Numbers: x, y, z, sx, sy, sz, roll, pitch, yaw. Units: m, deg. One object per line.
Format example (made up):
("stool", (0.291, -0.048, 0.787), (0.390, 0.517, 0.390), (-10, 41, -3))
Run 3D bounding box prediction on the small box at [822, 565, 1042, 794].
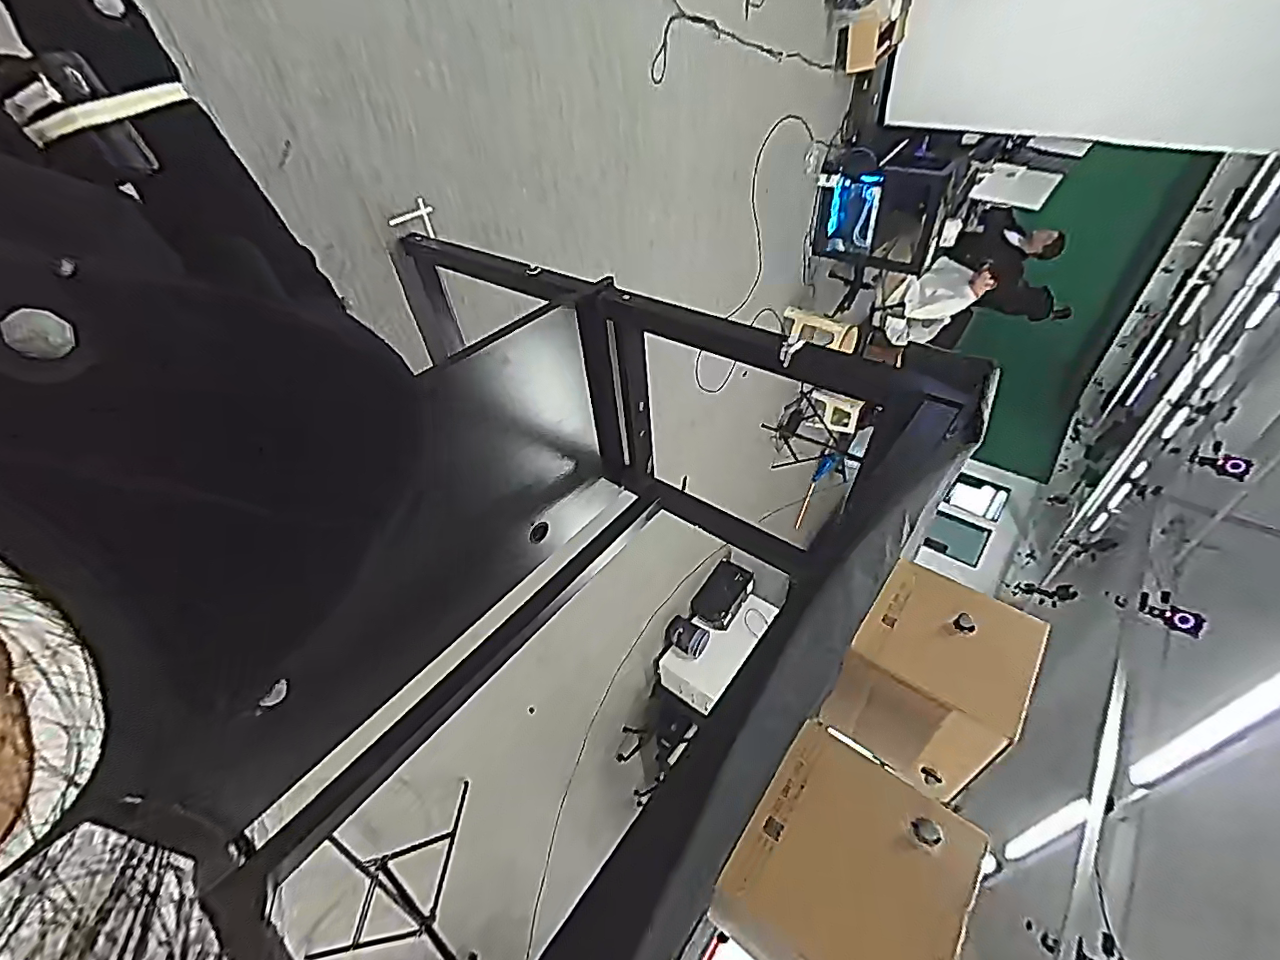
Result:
("small box", (0.340, 0.228, 0.654), (0.168, 0.176, 0.179), (-41, 145, -35))
